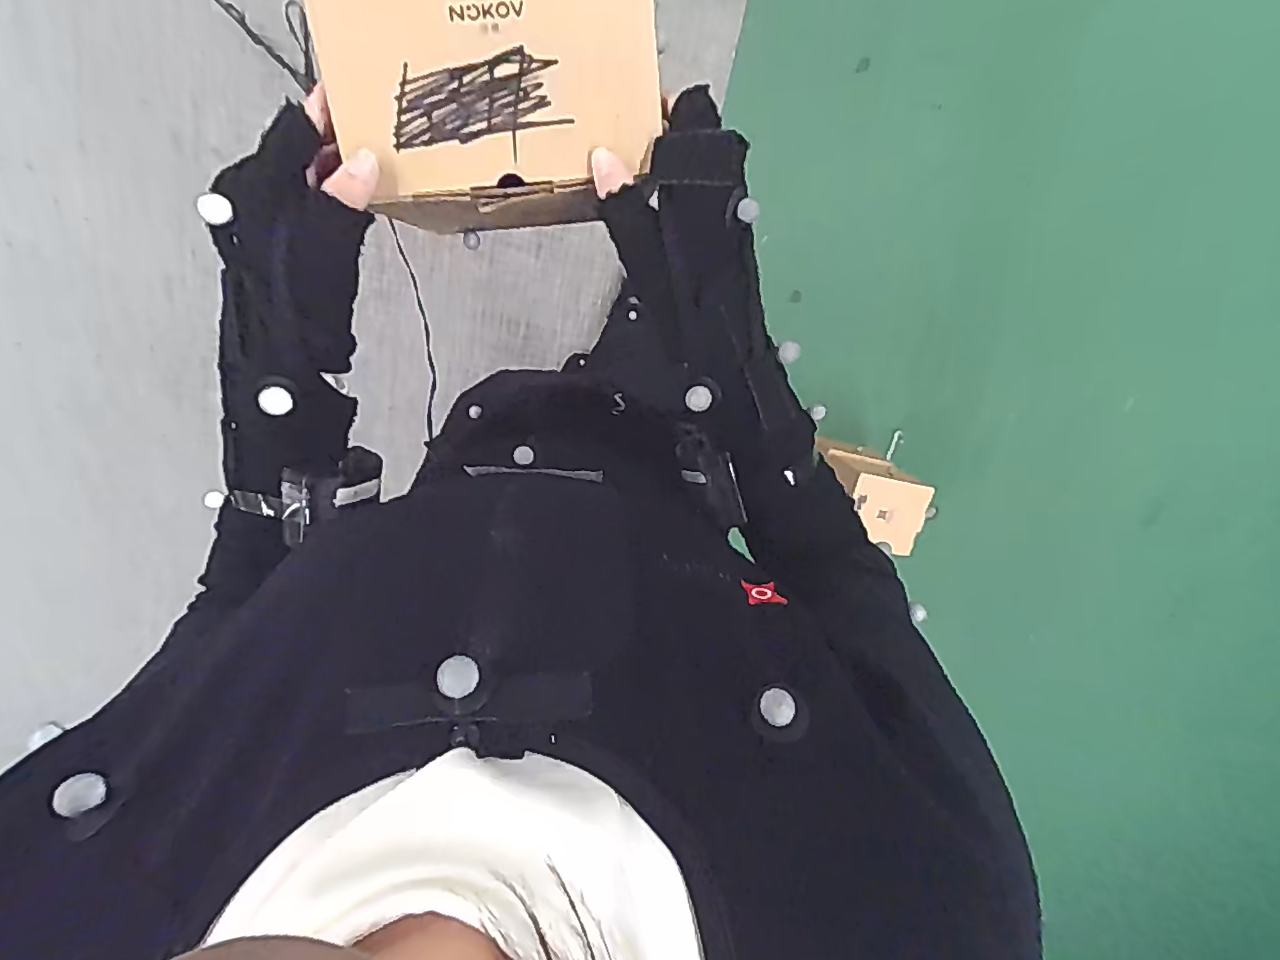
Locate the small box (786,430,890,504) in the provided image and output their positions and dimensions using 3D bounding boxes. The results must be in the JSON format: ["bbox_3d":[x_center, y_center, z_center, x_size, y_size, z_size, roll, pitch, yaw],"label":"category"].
[{"bbox_3d":[0.505,-0.023,1.404,0.179,0.176,0.168,13,106,-6],"label":"small box"}]

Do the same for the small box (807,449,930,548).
[{"bbox_3d":[0.518,0.036,1.251,0.179,0.176,0.168,12,106,-8],"label":"small box"}]

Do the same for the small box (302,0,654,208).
[{"bbox_3d":[-0.084,-0.271,0.326,0.168,0.176,0.179,-6,110,-3],"label":"small box"}]
